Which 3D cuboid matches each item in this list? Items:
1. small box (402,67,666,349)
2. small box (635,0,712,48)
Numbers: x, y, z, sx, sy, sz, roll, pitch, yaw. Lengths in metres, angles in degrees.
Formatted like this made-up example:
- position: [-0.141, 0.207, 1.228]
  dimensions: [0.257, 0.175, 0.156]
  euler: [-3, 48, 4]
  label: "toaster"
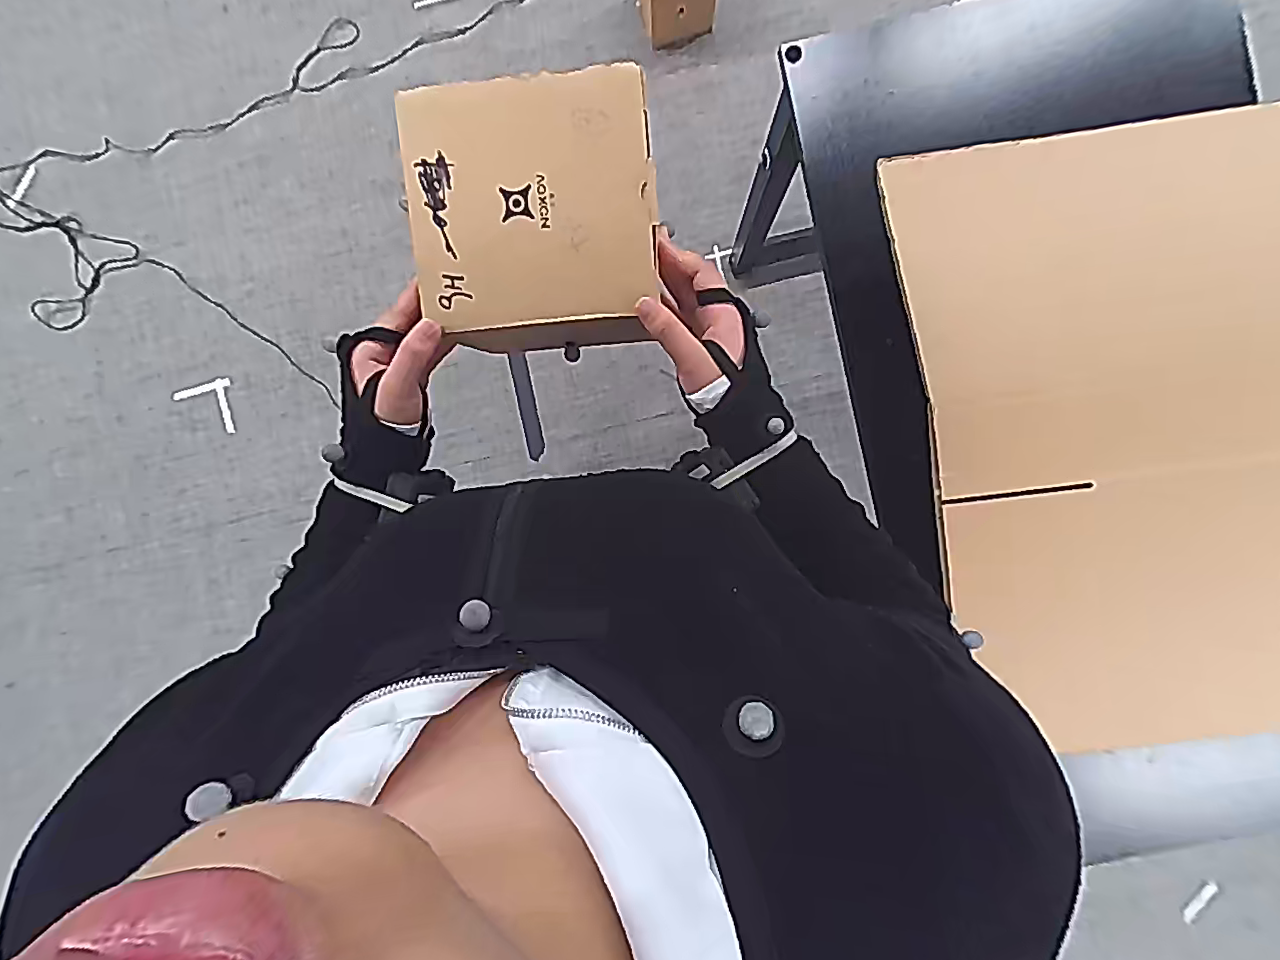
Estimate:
- position: [-0.073, -0.208, 0.463]
  dimensions: [0.179, 0.176, 0.168]
  euler: [-4, 97, 2]
  label: "small box"
- position: [0.084, -1.276, 1.396]
  dimensions: [0.179, 0.176, 0.168]
  euler: [-17, 90, 3]
  label: "small box"
